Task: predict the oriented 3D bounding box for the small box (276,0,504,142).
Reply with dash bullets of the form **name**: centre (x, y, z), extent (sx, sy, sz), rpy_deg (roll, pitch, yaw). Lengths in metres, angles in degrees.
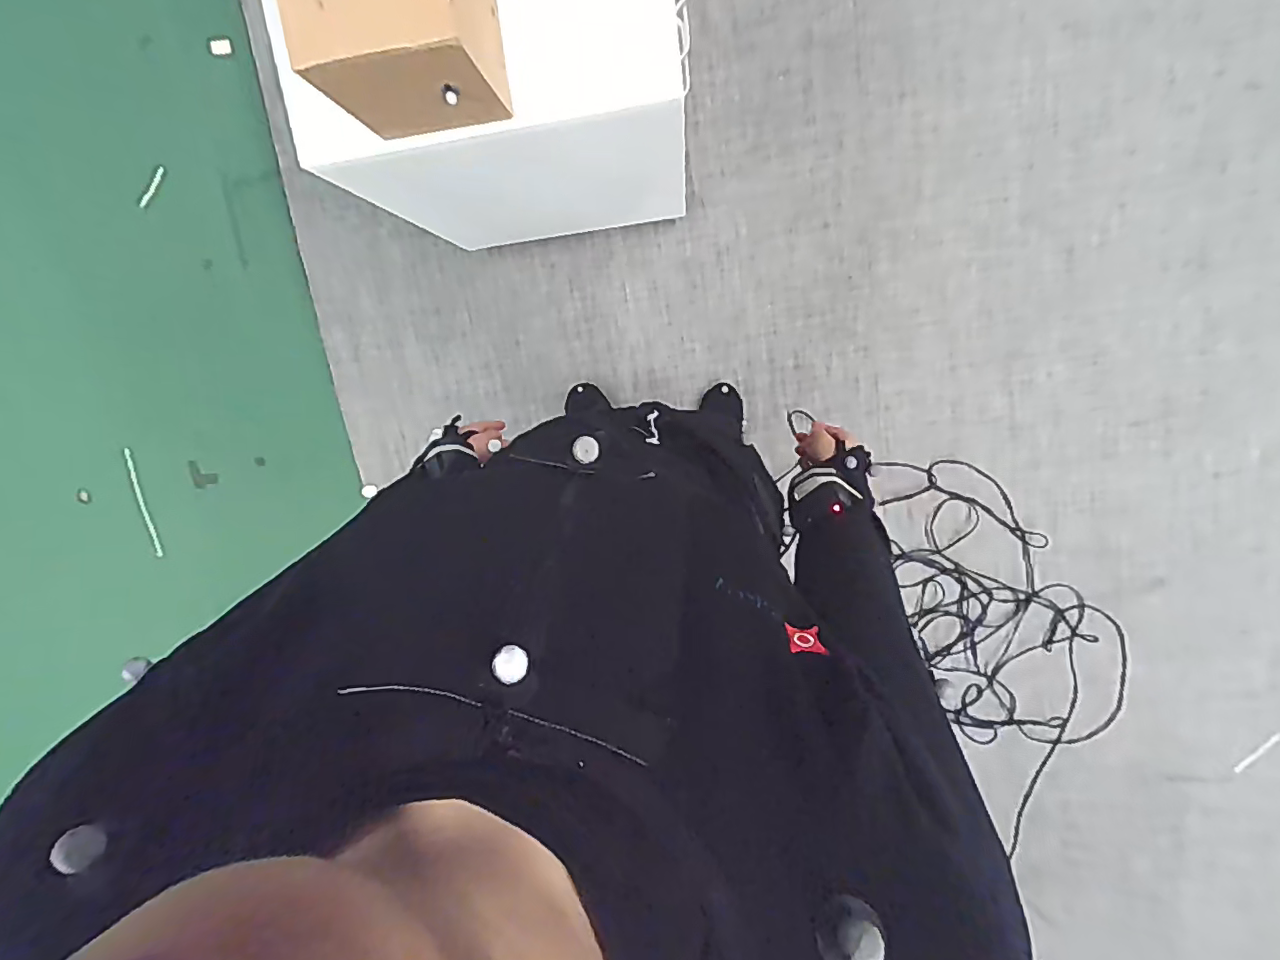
- **small box**: centre (-0.259, -0.499, 0.585), extent (0.179, 0.176, 0.168), rpy_deg (-6, 100, 7)
